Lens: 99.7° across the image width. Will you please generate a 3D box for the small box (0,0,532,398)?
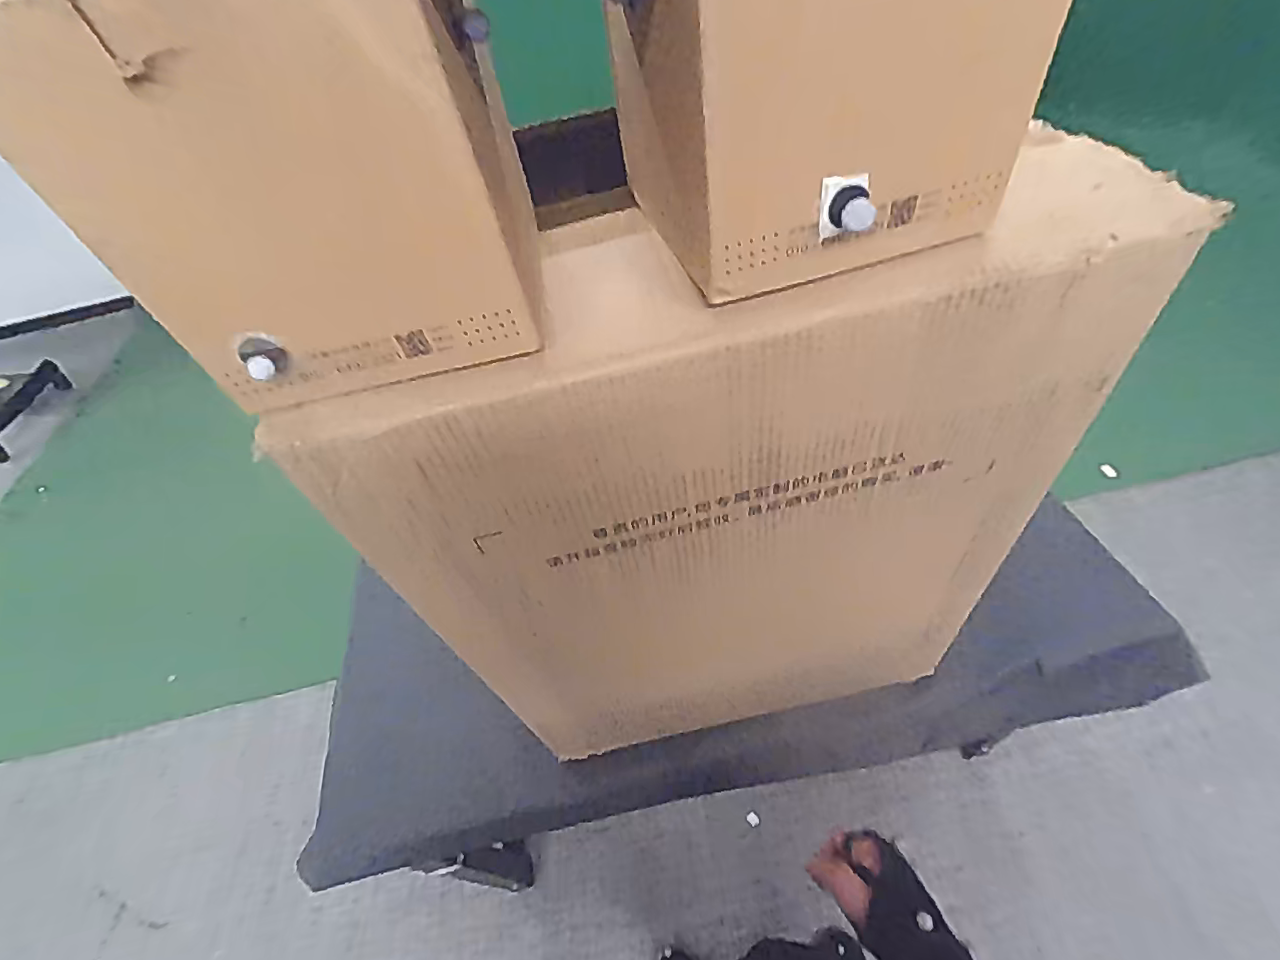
[{"bbox_3d":[-0.160,-0.161,0.286,0.168,0.176,0.179,-12,48,2],"label":"small box"}]
